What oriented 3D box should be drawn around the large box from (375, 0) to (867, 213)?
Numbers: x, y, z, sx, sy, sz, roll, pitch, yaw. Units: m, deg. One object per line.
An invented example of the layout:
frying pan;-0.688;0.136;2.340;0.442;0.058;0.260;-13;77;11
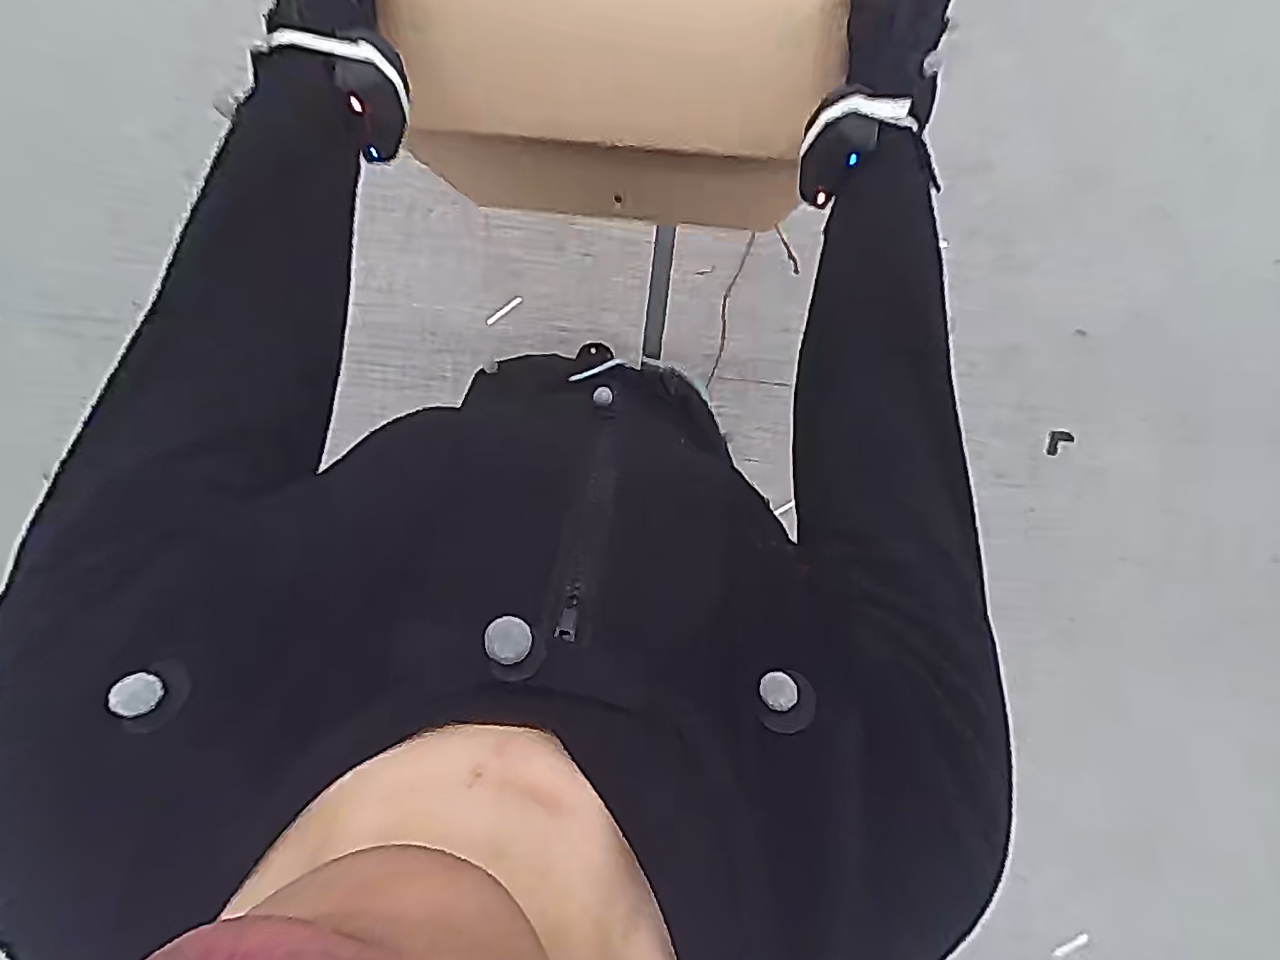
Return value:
large box;-0.008;-0.485;0.563;0.408;0.320;0.320;5;105;-1
